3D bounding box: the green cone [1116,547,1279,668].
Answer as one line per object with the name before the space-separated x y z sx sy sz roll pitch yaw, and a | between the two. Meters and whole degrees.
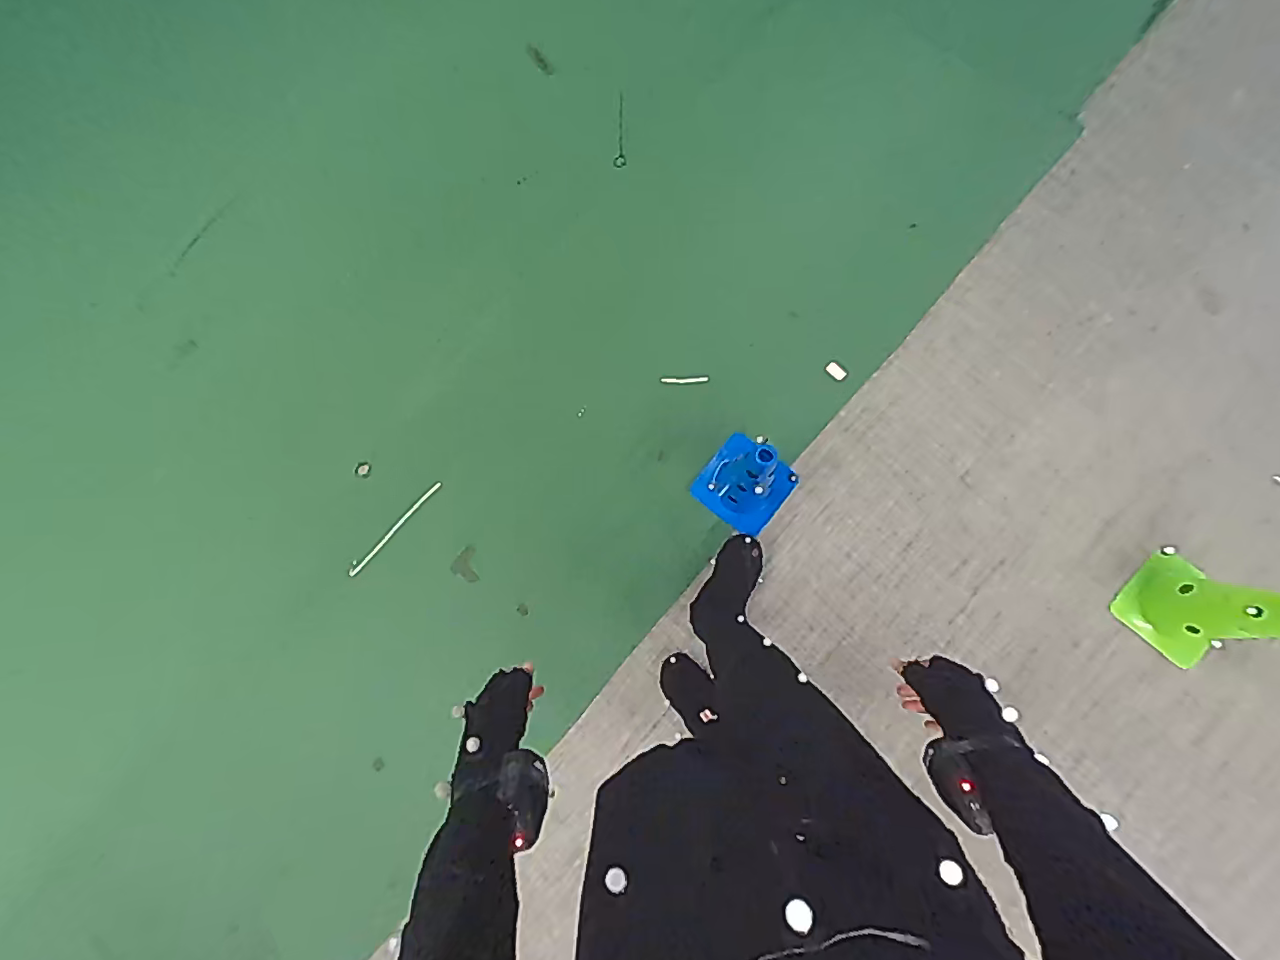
green cone | 1.161 0.251 1.010 0.202 0.368 0.200 41 87 9
